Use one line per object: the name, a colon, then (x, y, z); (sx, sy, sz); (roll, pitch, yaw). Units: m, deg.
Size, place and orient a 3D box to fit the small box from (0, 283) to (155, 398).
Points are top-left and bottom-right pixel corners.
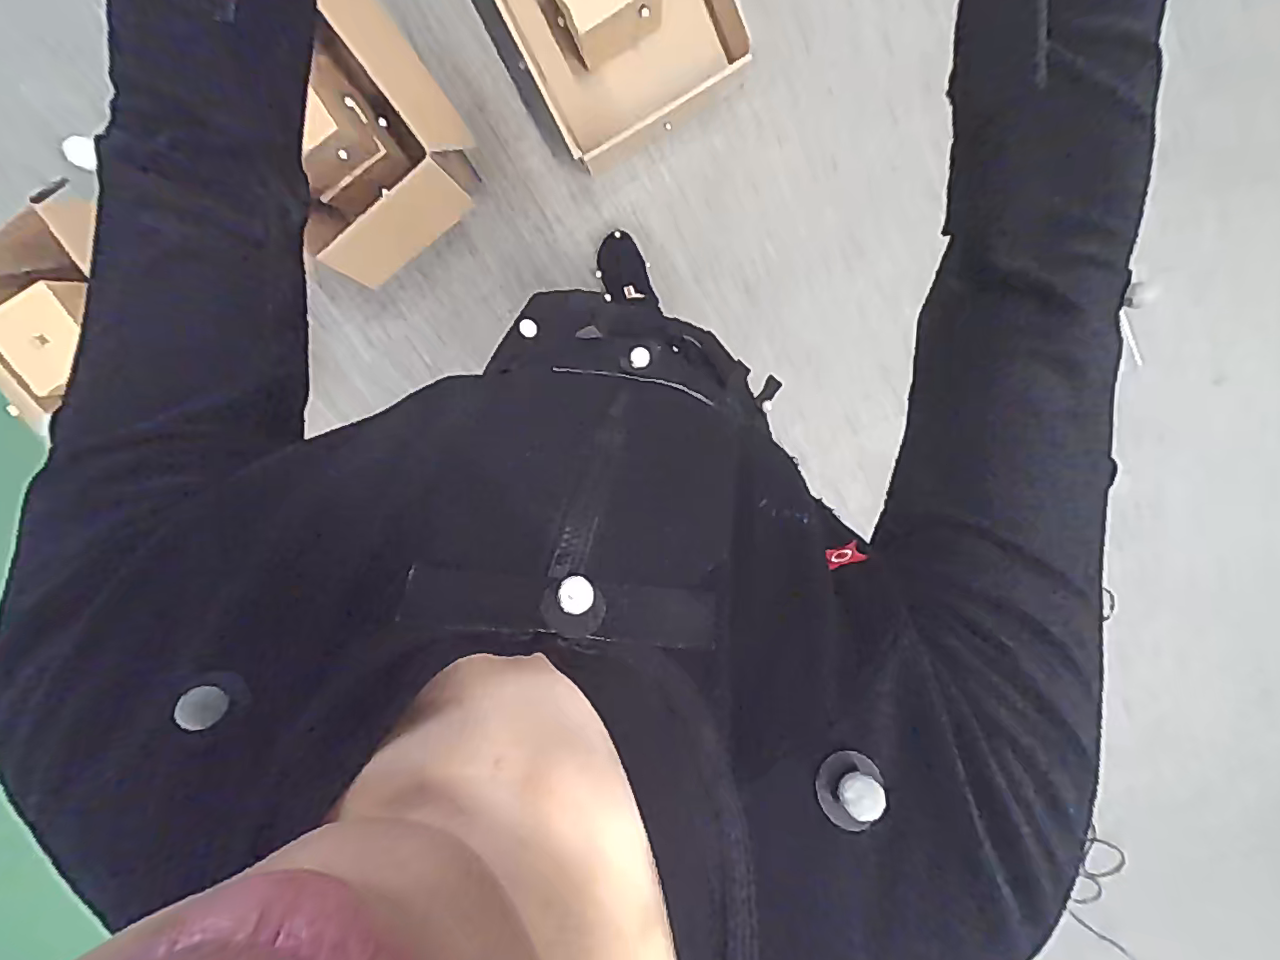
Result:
small box: (-1.172, -0.292, 1.120); (0.179, 0.176, 0.168); (-25, 106, 7)
